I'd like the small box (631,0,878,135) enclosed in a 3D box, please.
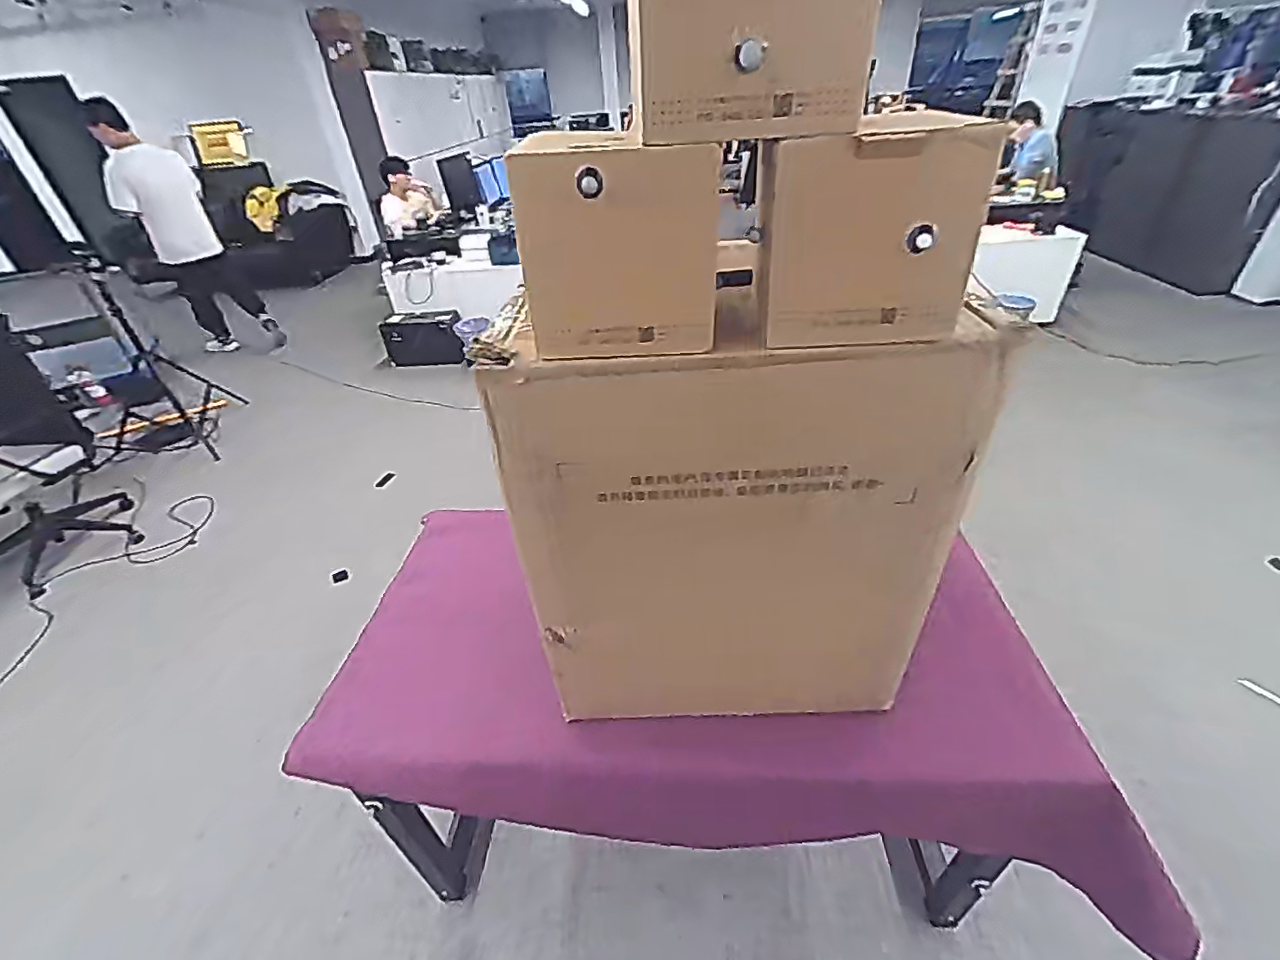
[{"bbox_3d":[0.076,-0.375,0.424,0.168,0.176,0.179,-4,36,0],"label":"small box"}]

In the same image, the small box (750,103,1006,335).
[{"bbox_3d":[0.196,-0.242,0.507,0.168,0.176,0.179,0,35,6],"label":"small box"}]
